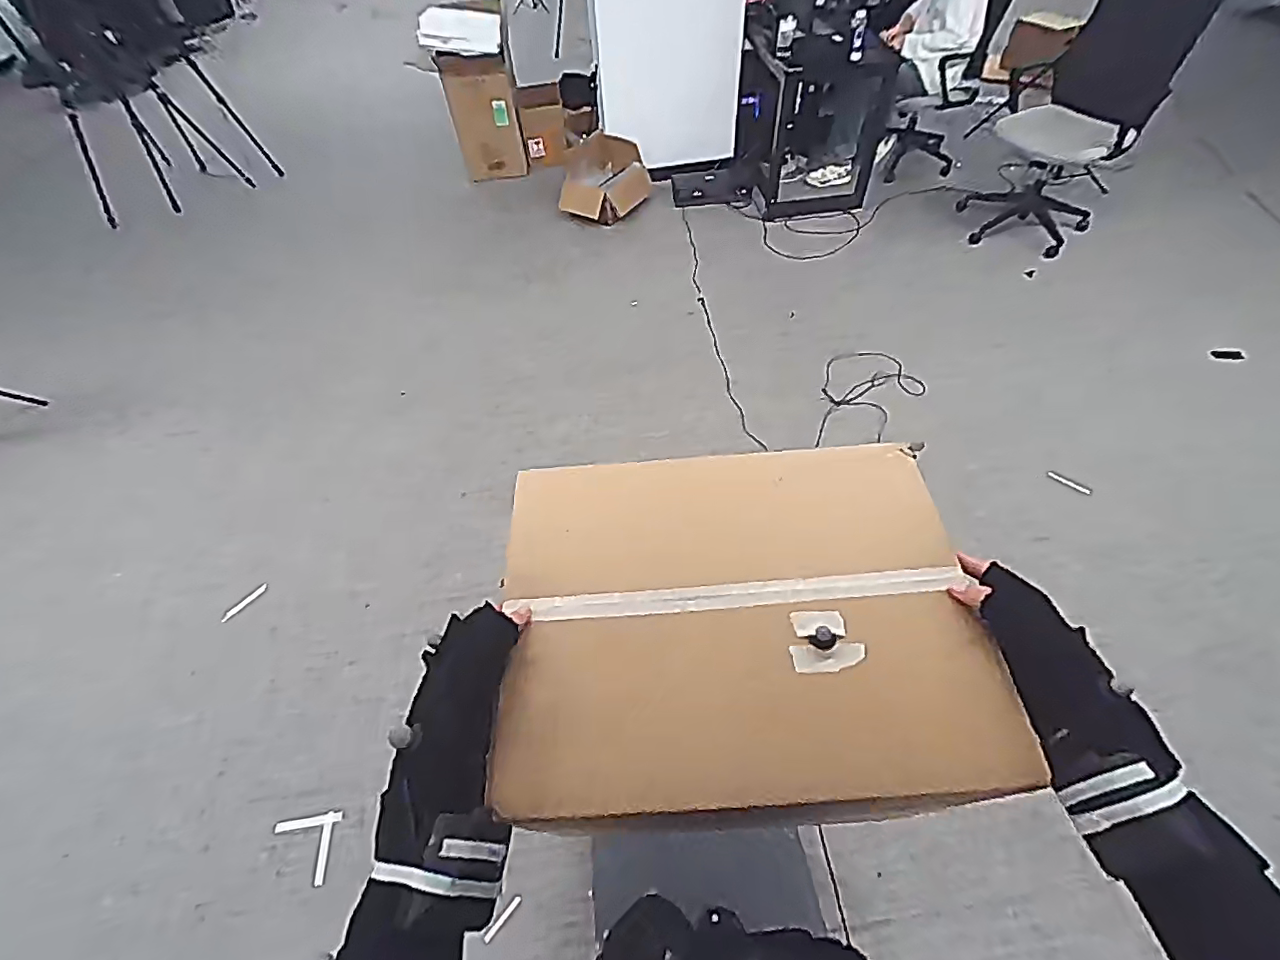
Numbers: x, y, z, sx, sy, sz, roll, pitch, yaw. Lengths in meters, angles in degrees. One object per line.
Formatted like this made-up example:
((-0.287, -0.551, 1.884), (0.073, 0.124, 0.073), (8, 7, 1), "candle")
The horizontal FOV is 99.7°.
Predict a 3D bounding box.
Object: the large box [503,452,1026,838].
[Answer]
((0.090, 0.197, 0.609), (0.408, 0.320, 0.320), (-4, 55, 1), "large box")
